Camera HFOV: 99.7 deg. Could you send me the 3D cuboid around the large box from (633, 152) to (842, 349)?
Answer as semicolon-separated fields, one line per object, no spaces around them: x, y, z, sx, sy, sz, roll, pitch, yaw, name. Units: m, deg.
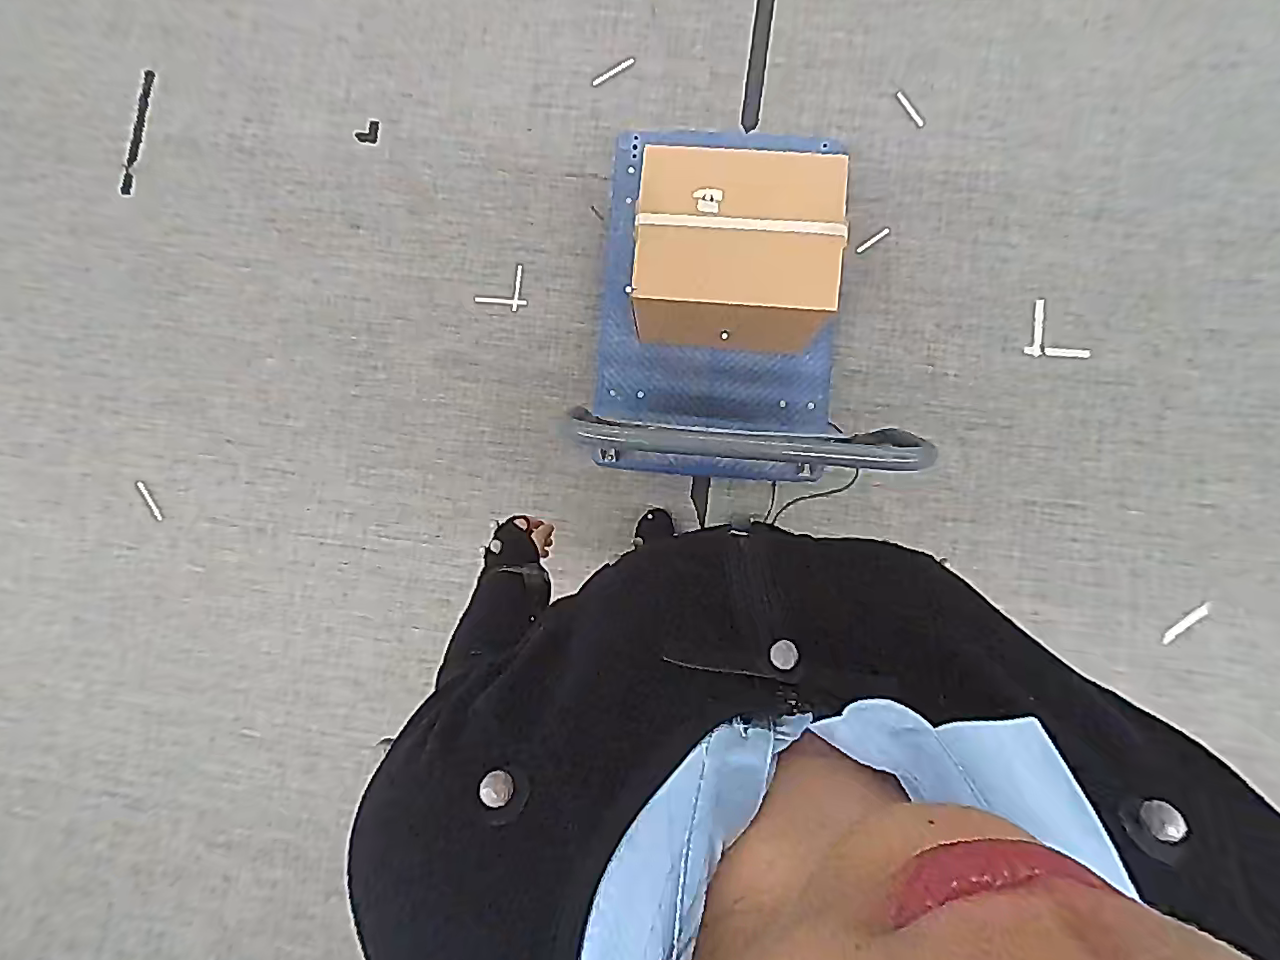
0.206;-0.494;1.223;0.408;0.320;0.320;5;87;4;large box
